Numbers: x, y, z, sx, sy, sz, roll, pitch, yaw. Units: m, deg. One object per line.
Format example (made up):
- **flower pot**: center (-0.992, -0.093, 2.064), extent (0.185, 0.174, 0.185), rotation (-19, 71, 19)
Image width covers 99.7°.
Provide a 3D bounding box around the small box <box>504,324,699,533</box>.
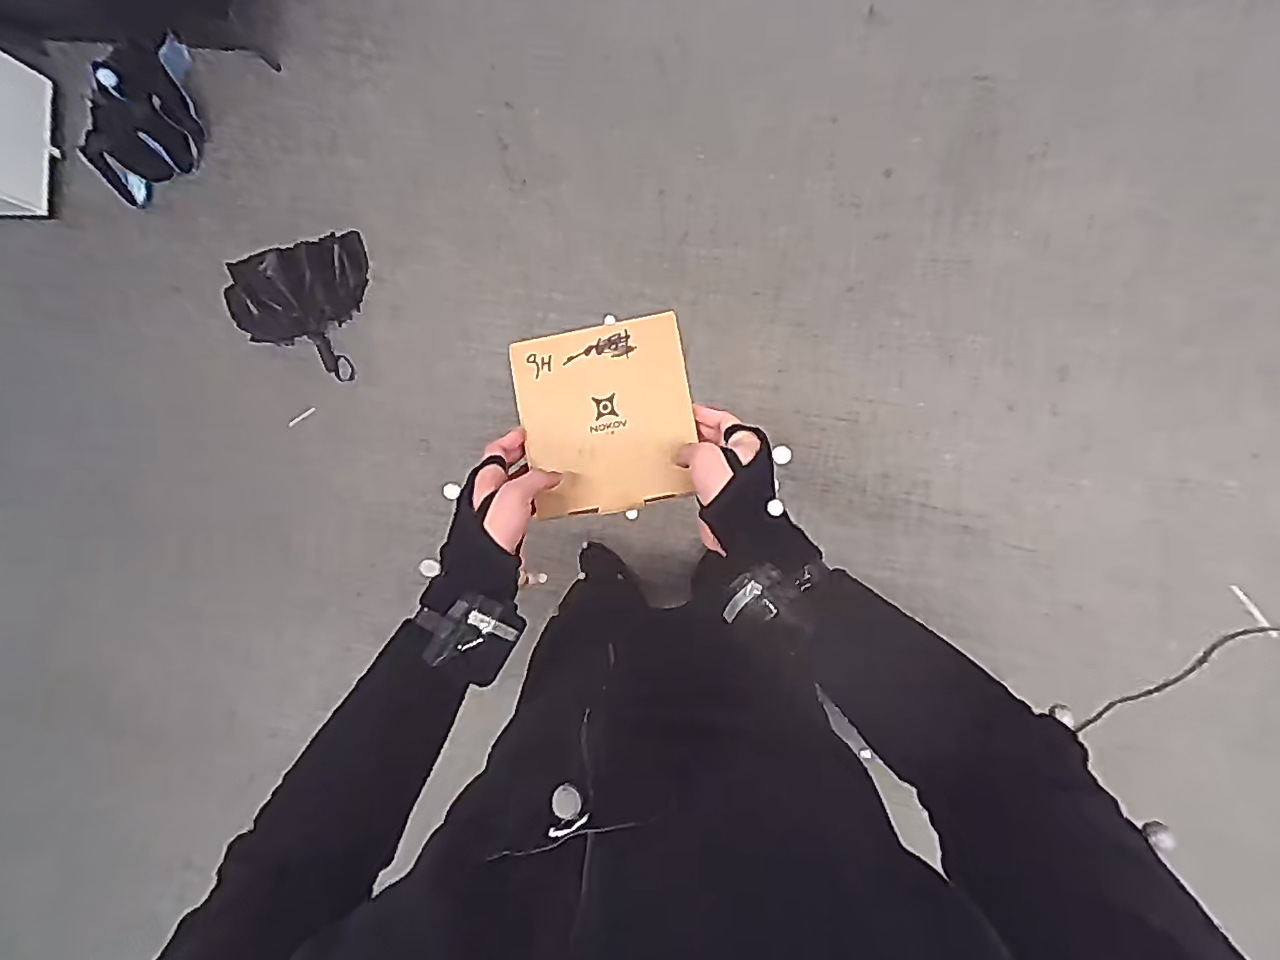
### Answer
- **small box**: center (-0.029, -0.048, 0.589), extent (0.168, 0.176, 0.179), rotation (-11, 88, 5)
